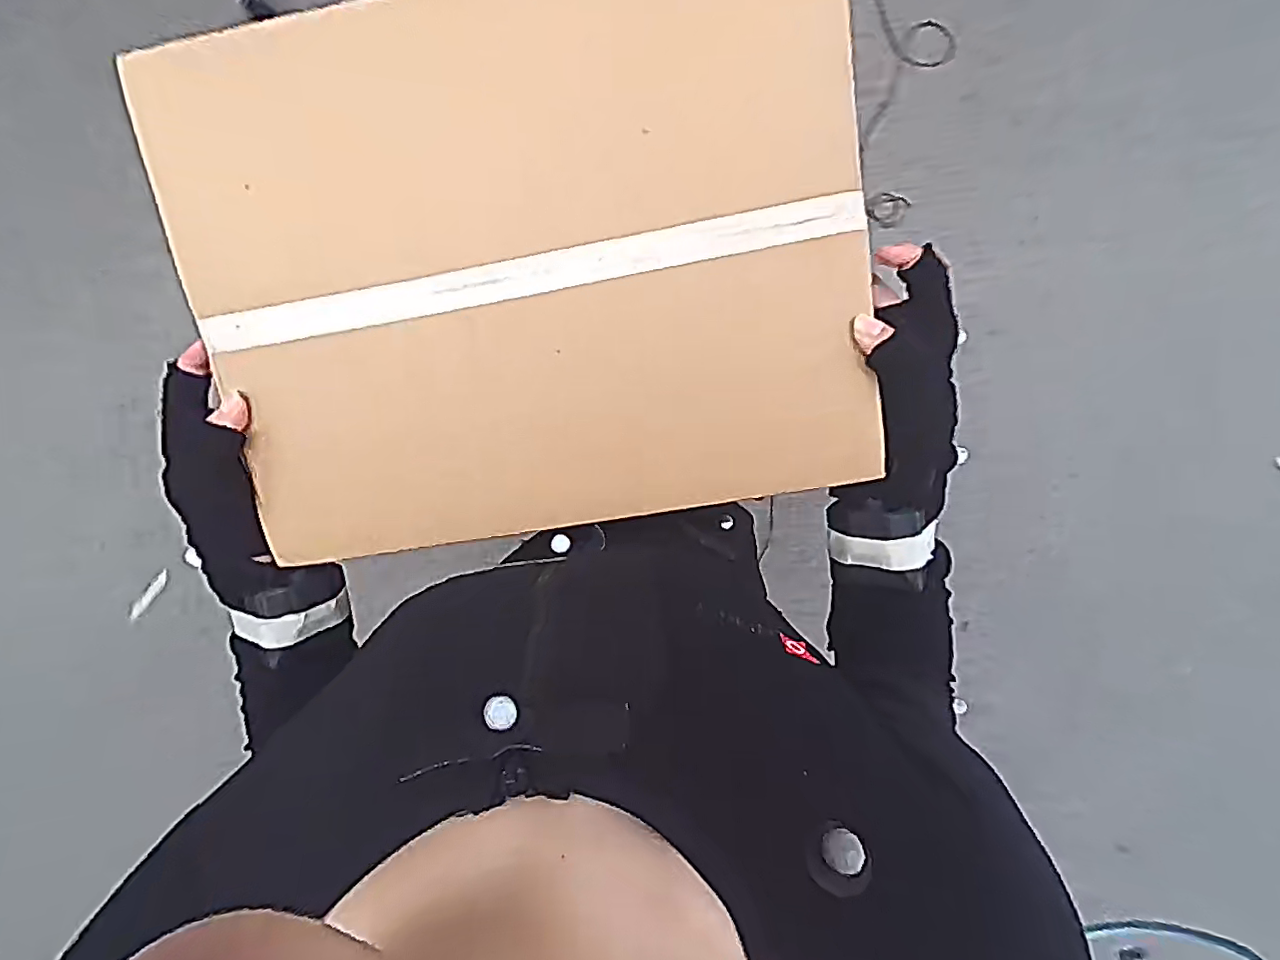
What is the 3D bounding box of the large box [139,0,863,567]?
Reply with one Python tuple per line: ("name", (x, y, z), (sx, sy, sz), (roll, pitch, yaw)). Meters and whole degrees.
("large box", (-0.069, -0.152, 0.479), (0.408, 0.320, 0.320), (-10, 101, 5))
